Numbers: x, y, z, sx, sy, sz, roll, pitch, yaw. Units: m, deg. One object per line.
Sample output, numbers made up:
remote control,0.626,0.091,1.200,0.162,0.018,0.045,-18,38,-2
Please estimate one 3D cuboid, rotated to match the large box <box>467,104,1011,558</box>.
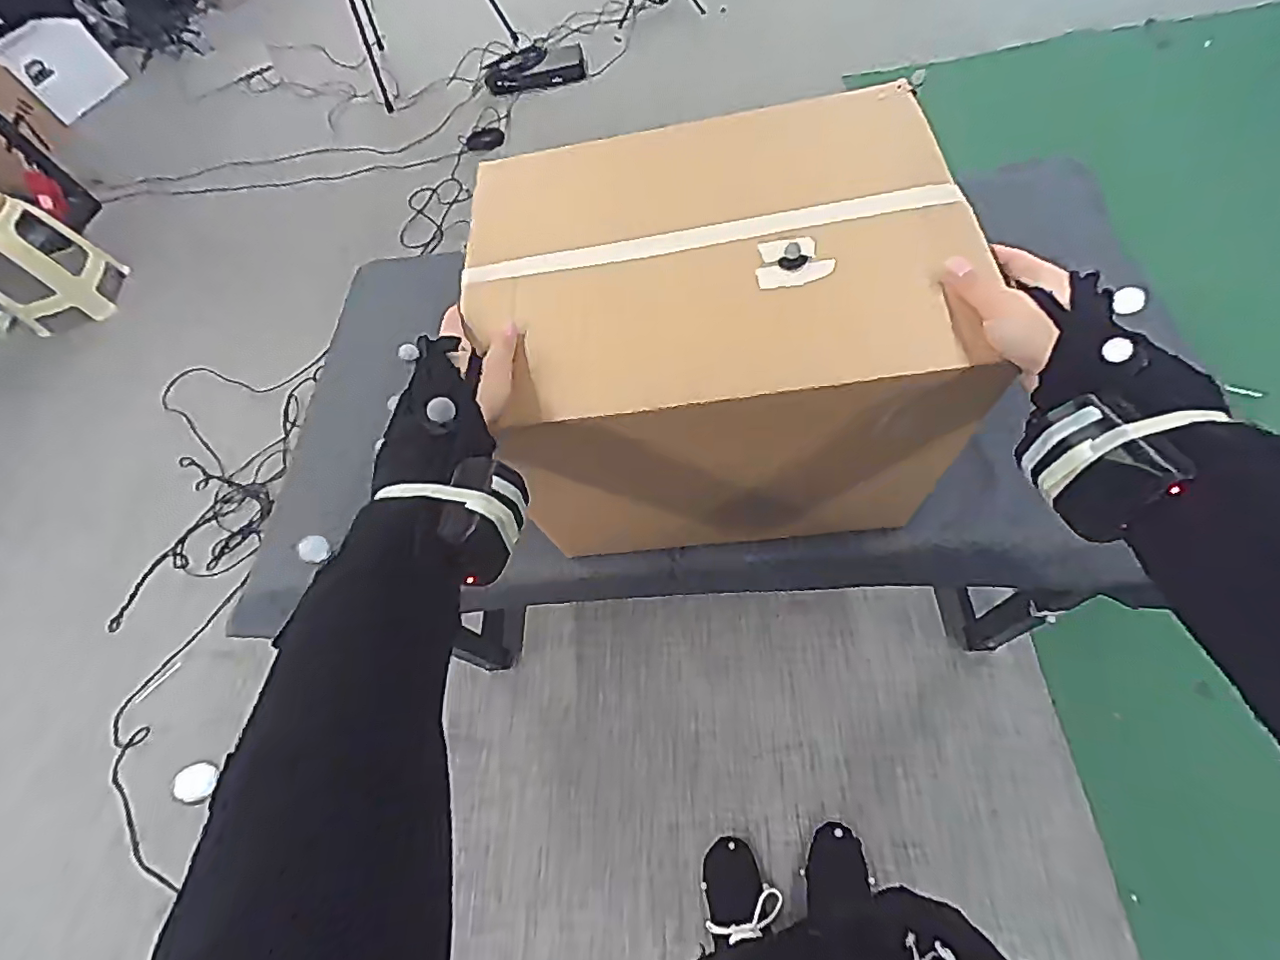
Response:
large box,0.073,-0.126,0.588,0.408,0.320,0.320,-7,64,6
